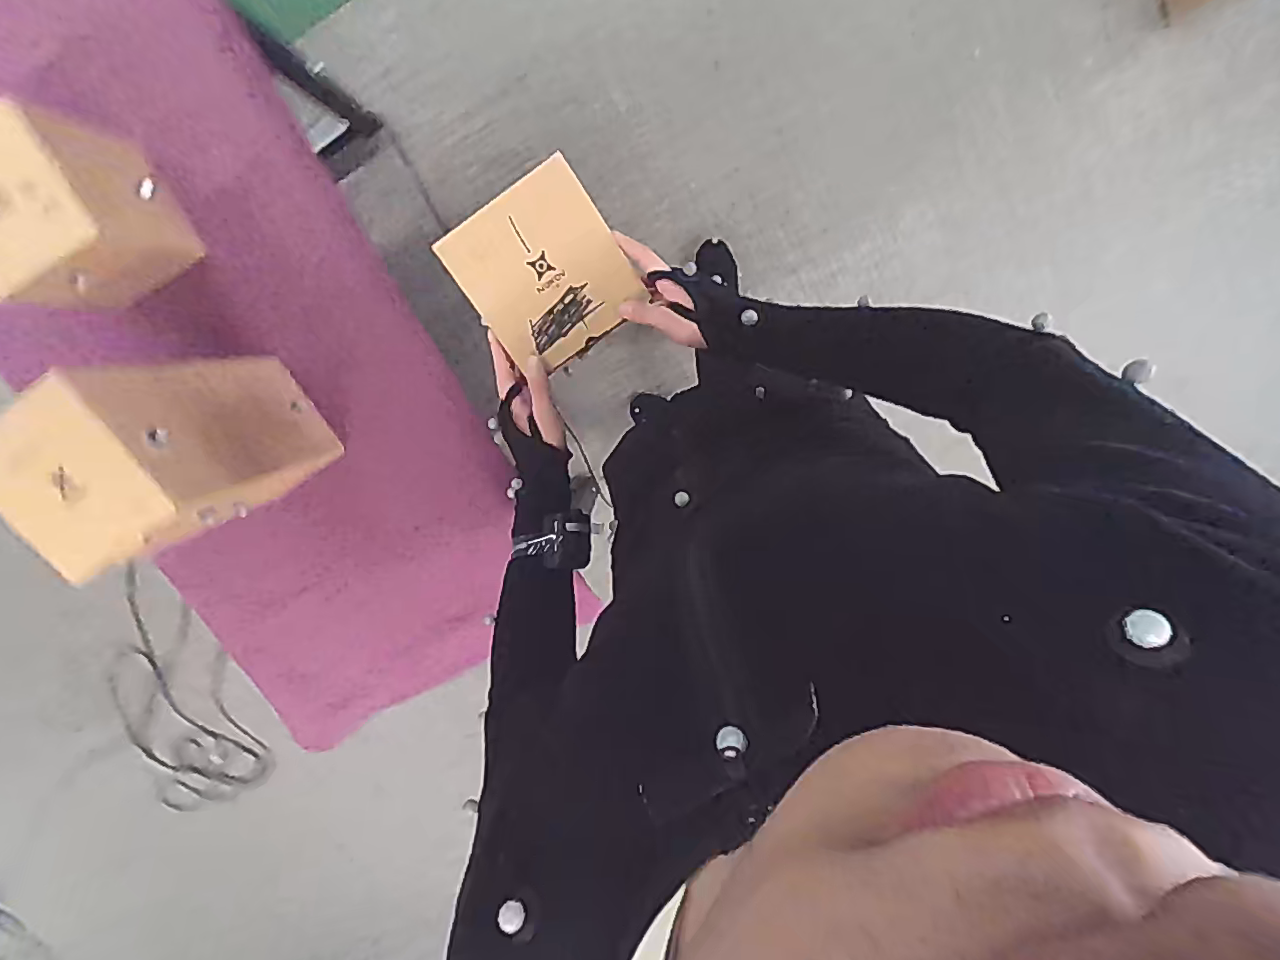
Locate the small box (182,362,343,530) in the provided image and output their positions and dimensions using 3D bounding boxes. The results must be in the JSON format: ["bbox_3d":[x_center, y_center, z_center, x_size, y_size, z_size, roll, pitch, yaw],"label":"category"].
[{"bbox_3d":[-0.595,-0.059,0.803,0.168,0.176,0.179,-32,101,10],"label":"small box"}]

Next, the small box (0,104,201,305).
[{"bbox_3d":[-0.766,-0.350,0.732,0.179,0.176,0.168,-26,103,8],"label":"small box"}]

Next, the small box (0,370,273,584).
[{"bbox_3d":[-0.598,-0.015,0.645,0.168,0.176,0.179,-32,102,9],"label":"small box"}]

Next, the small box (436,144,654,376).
[{"bbox_3d":[-0.100,-0.245,0.642,0.168,0.176,0.179,-33,103,5],"label":"small box"}]
